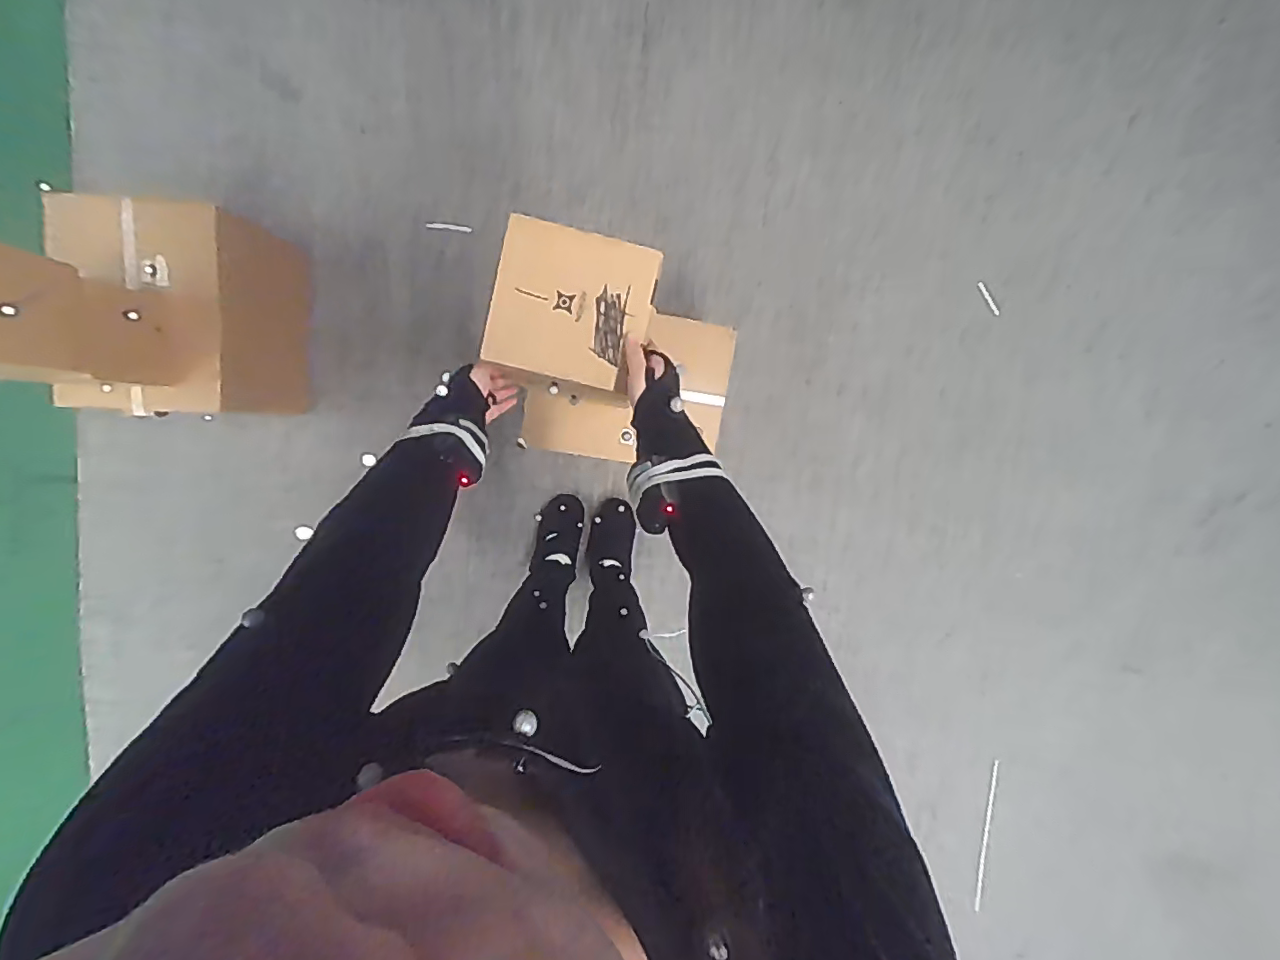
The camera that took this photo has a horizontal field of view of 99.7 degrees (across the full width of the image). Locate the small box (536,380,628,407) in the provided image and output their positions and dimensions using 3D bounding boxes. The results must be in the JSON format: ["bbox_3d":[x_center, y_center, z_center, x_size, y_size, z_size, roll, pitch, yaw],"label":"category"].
[{"bbox_3d":[-0.091,-0.235,1.010,0.168,0.176,0.179,9,94,-5],"label":"small box"}]

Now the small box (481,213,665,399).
[{"bbox_3d":[-0.079,-0.202,0.683,0.179,0.176,0.168,14,94,-4],"label":"small box"}]

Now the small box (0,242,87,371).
[{"bbox_3d":[-0.970,-0.253,0.787,0.168,0.176,0.179,-2,95,-4],"label":"small box"}]

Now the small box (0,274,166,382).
[{"bbox_3d":[-0.981,-0.263,0.950,0.179,0.176,0.168,2,96,-3],"label":"small box"}]

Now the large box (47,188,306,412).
[{"bbox_3d":[-0.975,-0.358,1.186,0.320,0.320,0.408,3,95,-4],"label":"large box"}]
